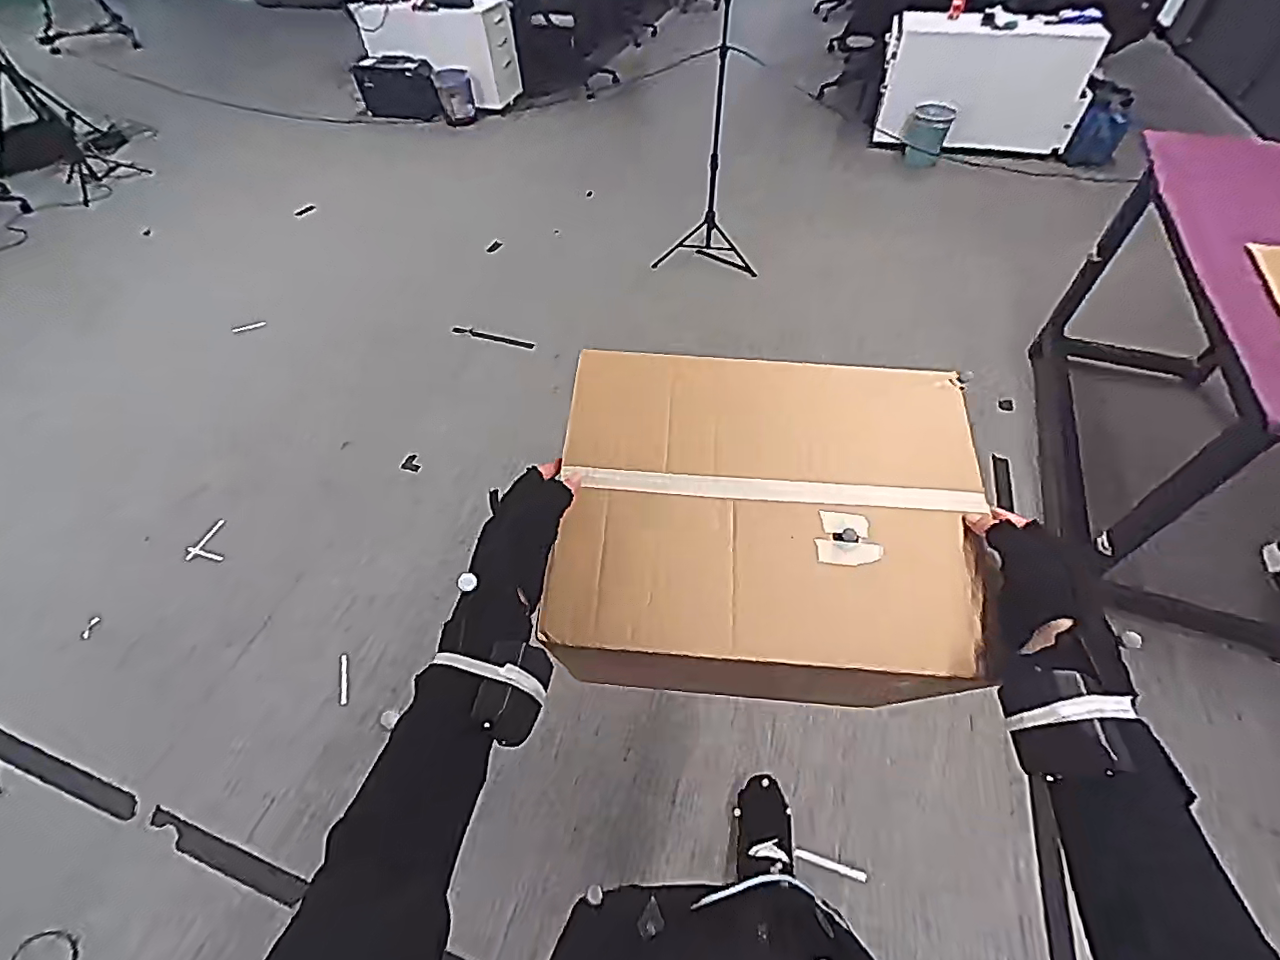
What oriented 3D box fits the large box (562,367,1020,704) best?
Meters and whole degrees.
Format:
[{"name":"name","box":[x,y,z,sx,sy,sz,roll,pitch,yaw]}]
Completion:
[{"name":"large box","box":[0.136,0.087,0.663,0.408,0.320,0.320,4,64,2]}]
